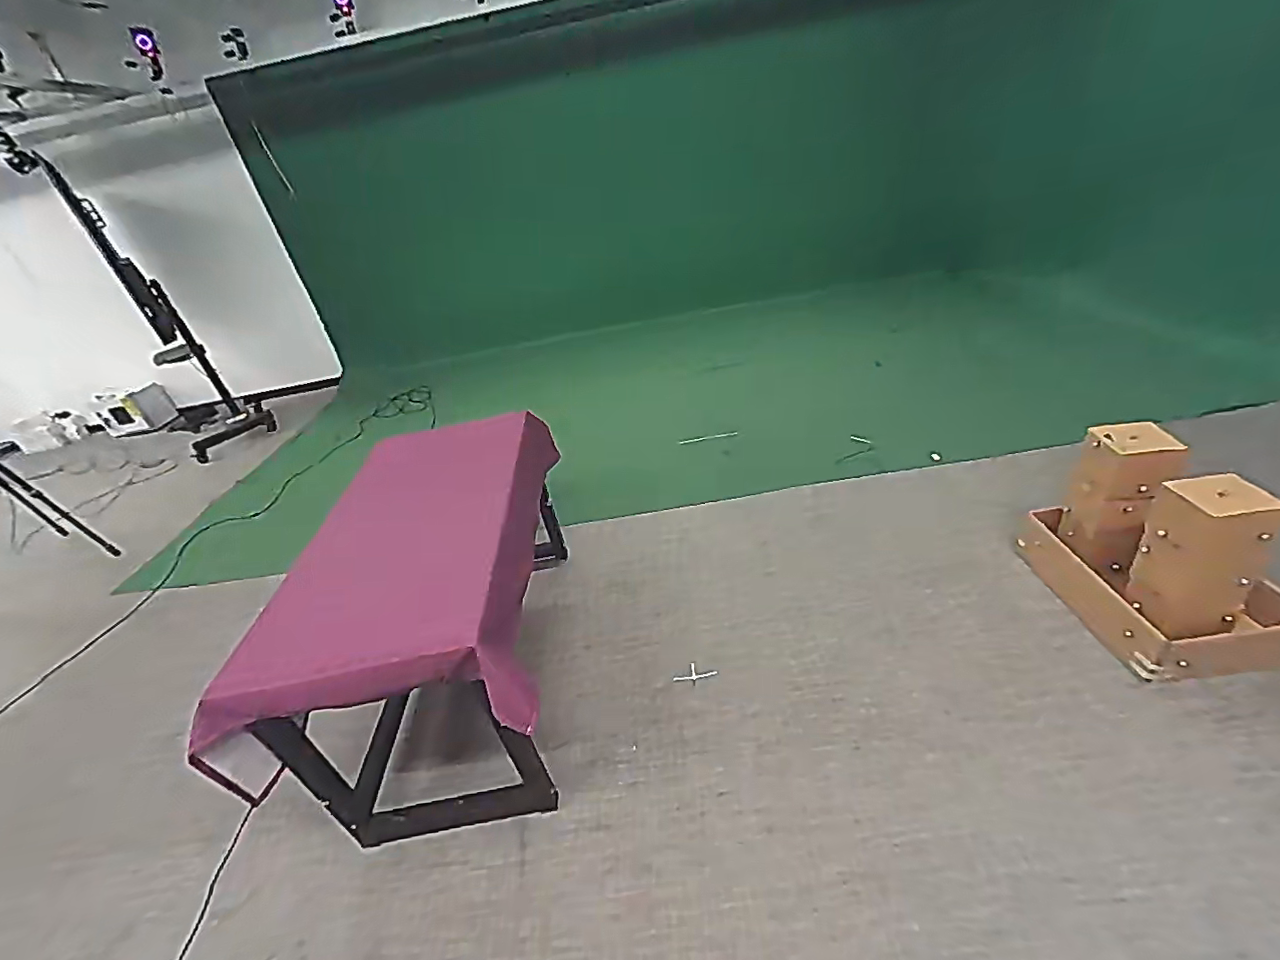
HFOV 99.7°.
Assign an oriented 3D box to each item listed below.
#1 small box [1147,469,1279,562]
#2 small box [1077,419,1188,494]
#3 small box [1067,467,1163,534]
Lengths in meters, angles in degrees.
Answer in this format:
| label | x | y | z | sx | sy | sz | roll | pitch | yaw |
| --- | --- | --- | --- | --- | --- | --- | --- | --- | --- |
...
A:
| label | x | y | z | sx | sy | sz | roll | pitch | yaw |
| --- | --- | --- | --- | --- | --- | --- | --- | --- | --- |
| small box | 1.500 | 0.095 | 1.417 | 0.179 | 0.176 | 0.168 | -8 | 31 | 6 |
| small box | 1.504 | -0.070 | 1.665 | 0.179 | 0.176 | 0.168 | -5 | 33 | 10 |
| small box | 1.537 | 0.061 | 1.760 | 0.179 | 0.176 | 0.168 | -6 | 33 | 9 |
